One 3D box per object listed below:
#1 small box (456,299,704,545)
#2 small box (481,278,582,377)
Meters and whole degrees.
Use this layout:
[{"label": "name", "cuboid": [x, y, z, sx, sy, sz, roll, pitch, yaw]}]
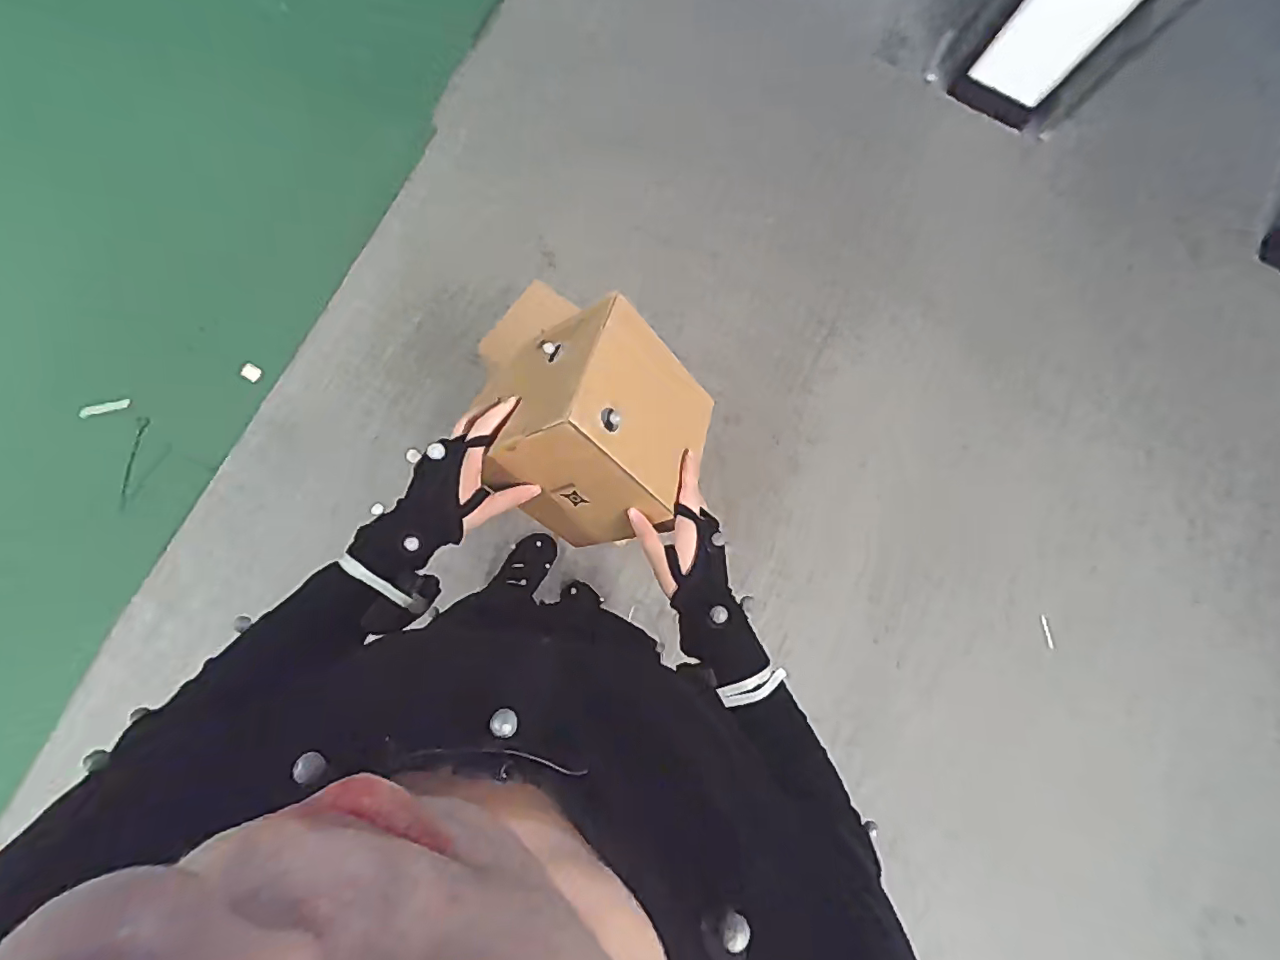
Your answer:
[{"label": "small box", "cuboid": [-0.051, -0.053, 0.573, 0.179, 0.168, 0.176, 41, 49, -34]}, {"label": "small box", "cuboid": [-0.164, -0.230, 1.010, 0.179, 0.176, 0.168, 38, 81, 0]}]
